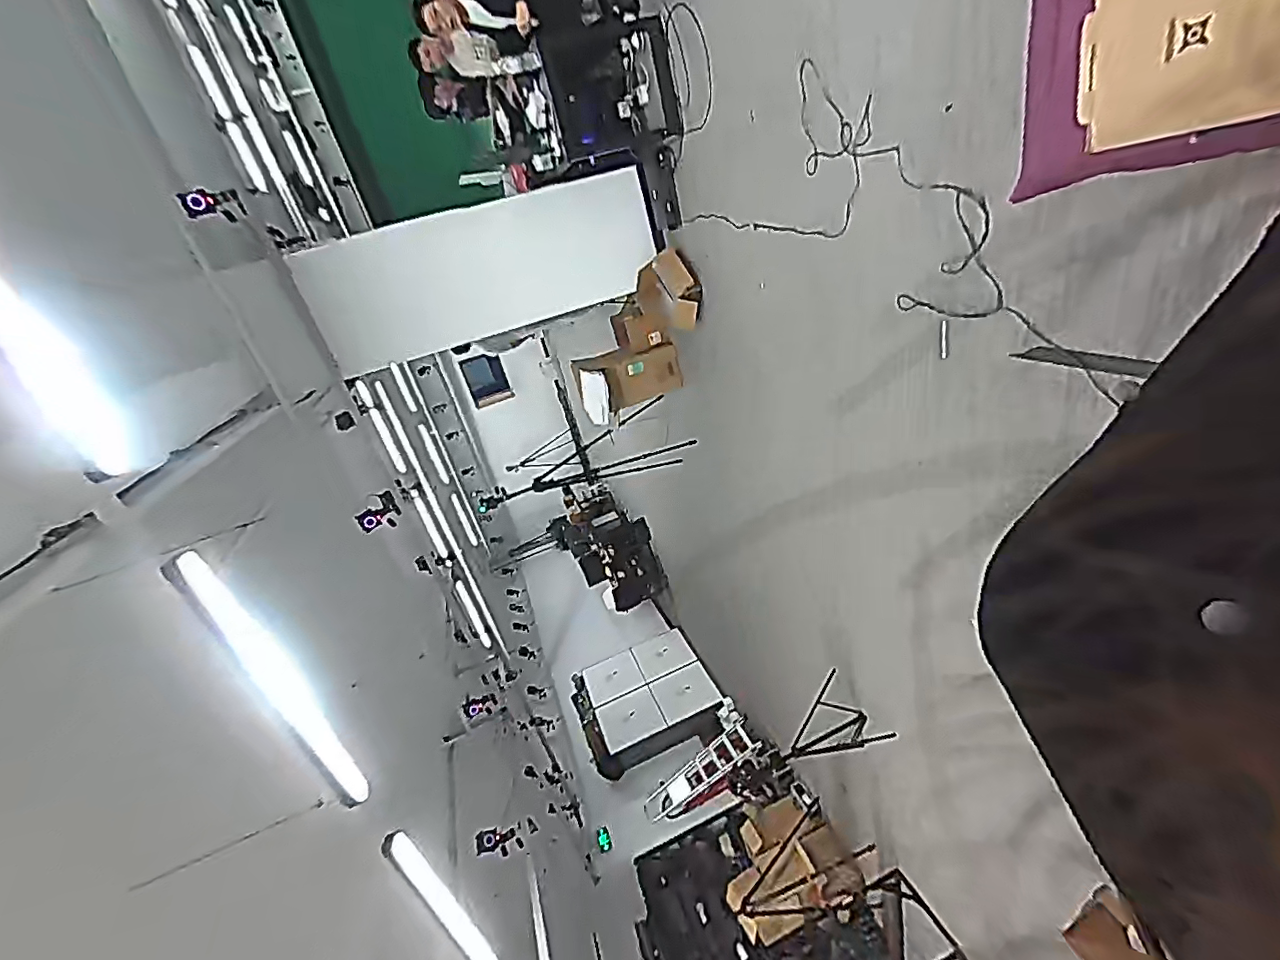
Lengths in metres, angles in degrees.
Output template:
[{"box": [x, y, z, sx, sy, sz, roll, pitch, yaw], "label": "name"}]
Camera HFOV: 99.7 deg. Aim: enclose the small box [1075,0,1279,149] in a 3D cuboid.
[{"box": [0.576, -0.444, 0.520, 0.179, 0.176, 0.168, -136, 26, -62], "label": "small box"}]
